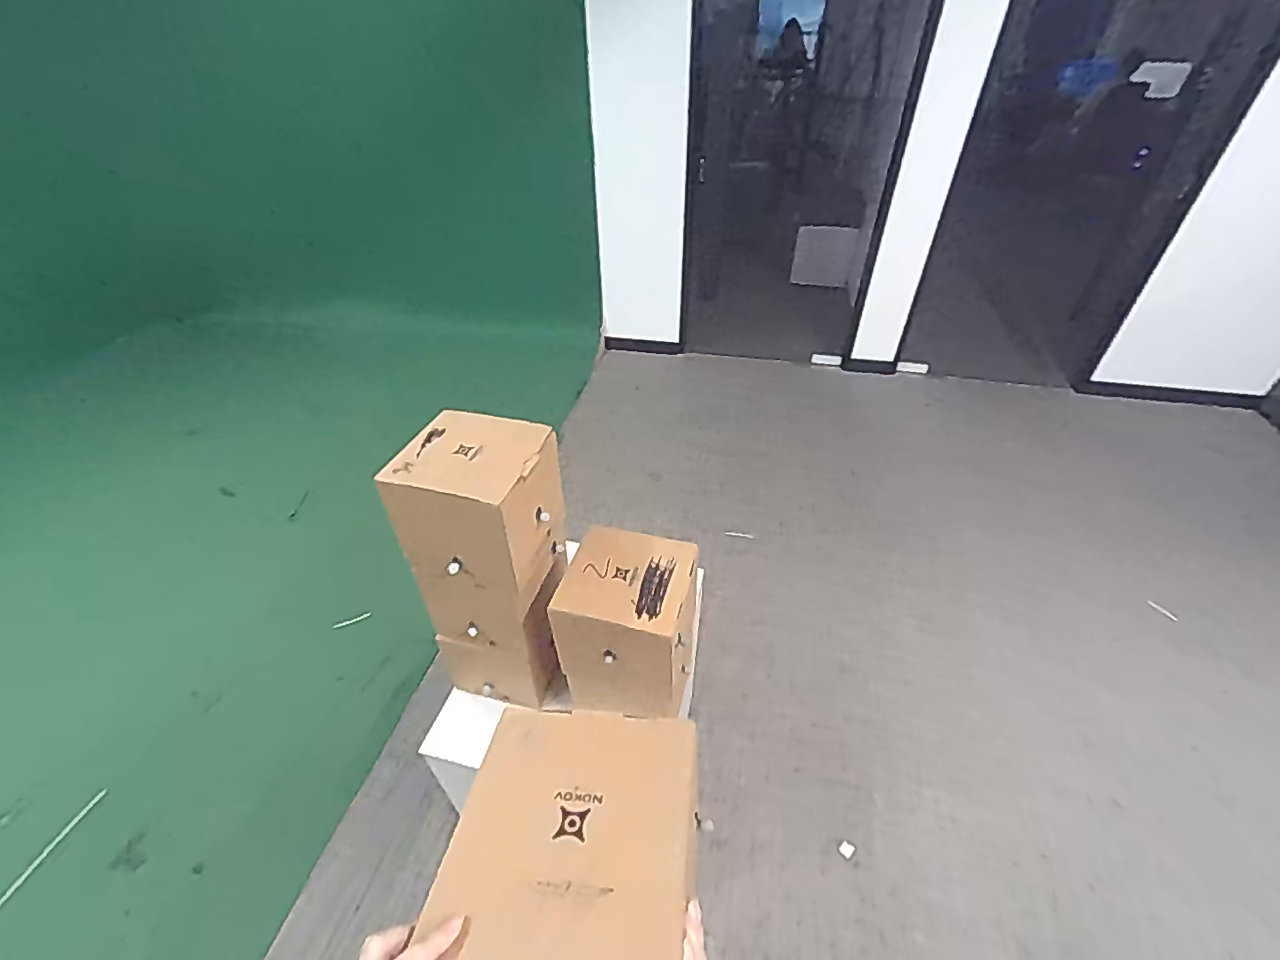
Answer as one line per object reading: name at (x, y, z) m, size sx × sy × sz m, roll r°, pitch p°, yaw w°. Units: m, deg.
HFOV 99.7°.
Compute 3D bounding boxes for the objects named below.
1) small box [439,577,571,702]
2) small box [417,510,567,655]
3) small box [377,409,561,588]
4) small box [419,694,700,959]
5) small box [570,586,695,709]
small box at (-0.230, 0.274, 0.974) m, size 0.168 × 0.176 × 0.179 m, roll 10°, pitch 42°, yaw 11°
small box at (-0.224, 0.146, 0.870) m, size 0.168 × 0.176 × 0.179 m, roll 11°, pitch 42°, yaw 12°
small box at (-0.221, 0.027, 0.756) m, size 0.179 × 0.176 × 0.168 m, roll 12°, pitch 42°, yaw 12°
small box at (-0.040, 0.302, 0.427) m, size 0.168 × 0.176 × 0.179 m, roll 1°, pitch 30°, yaw 9°
small box at (-0.007, 0.315, 0.923) m, size 0.168 × 0.176 × 0.179 m, roll 10°, pitch 42°, yaw 14°
